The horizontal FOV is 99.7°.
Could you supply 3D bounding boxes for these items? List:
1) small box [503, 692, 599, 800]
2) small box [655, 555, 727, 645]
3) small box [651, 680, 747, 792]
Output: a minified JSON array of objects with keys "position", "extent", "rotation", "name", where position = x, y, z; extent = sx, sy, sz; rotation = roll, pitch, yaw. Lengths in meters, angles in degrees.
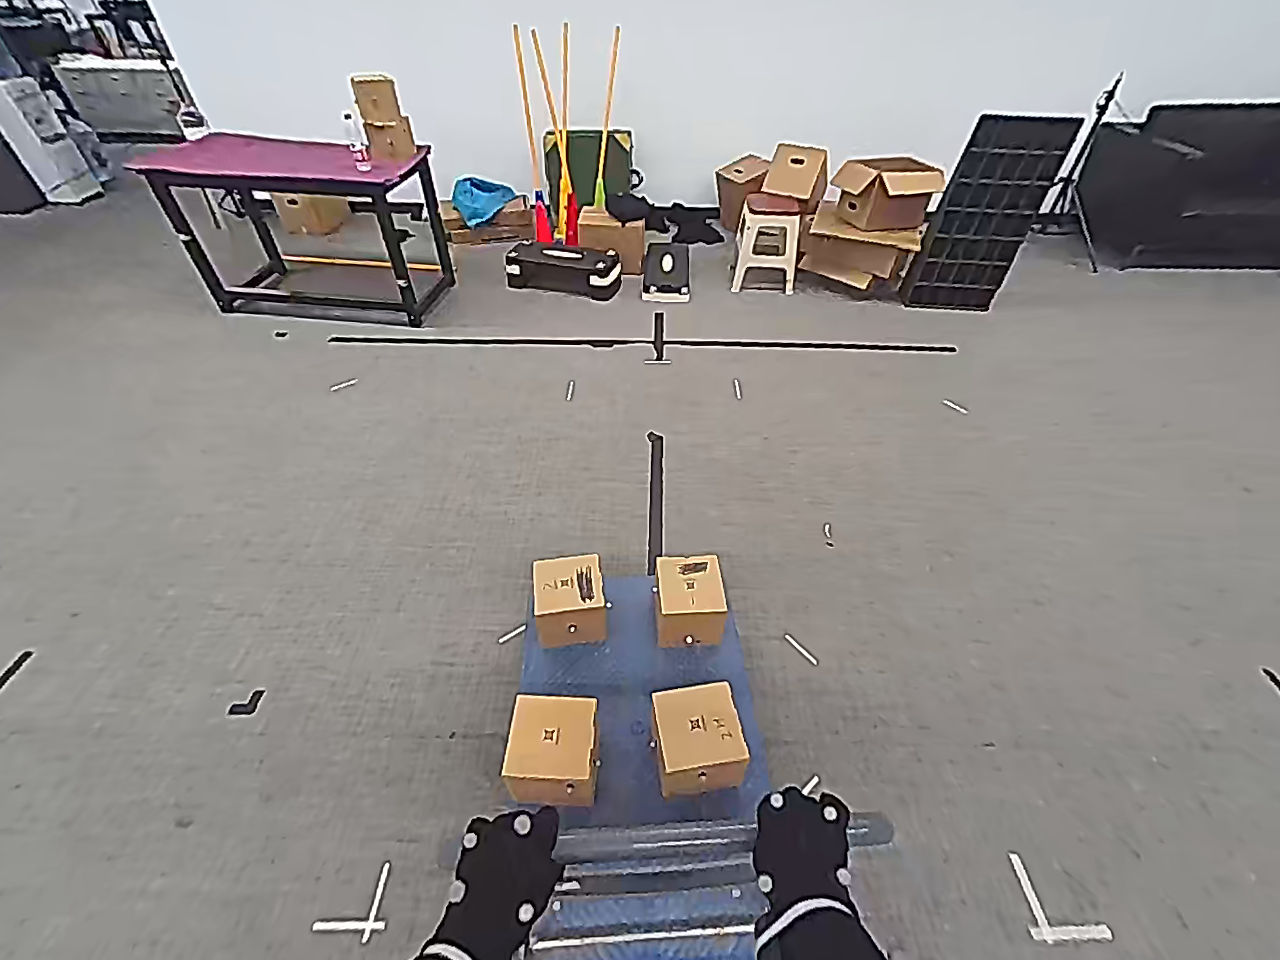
[{"position":[-0.185,0.582,1.180],"extent":[0.179,0.176,0.168],"rotation":[3,44,0],"name":"small box"},{"position":[0.130,0.322,1.452],"extent":[0.168,0.176,0.179],"rotation":[-1,45,-3],"name":"small box"},{"position":[0.122,0.570,1.197],"extent":[0.179,0.176,0.168],"rotation":[-6,45,-7],"name":"small box"}]
